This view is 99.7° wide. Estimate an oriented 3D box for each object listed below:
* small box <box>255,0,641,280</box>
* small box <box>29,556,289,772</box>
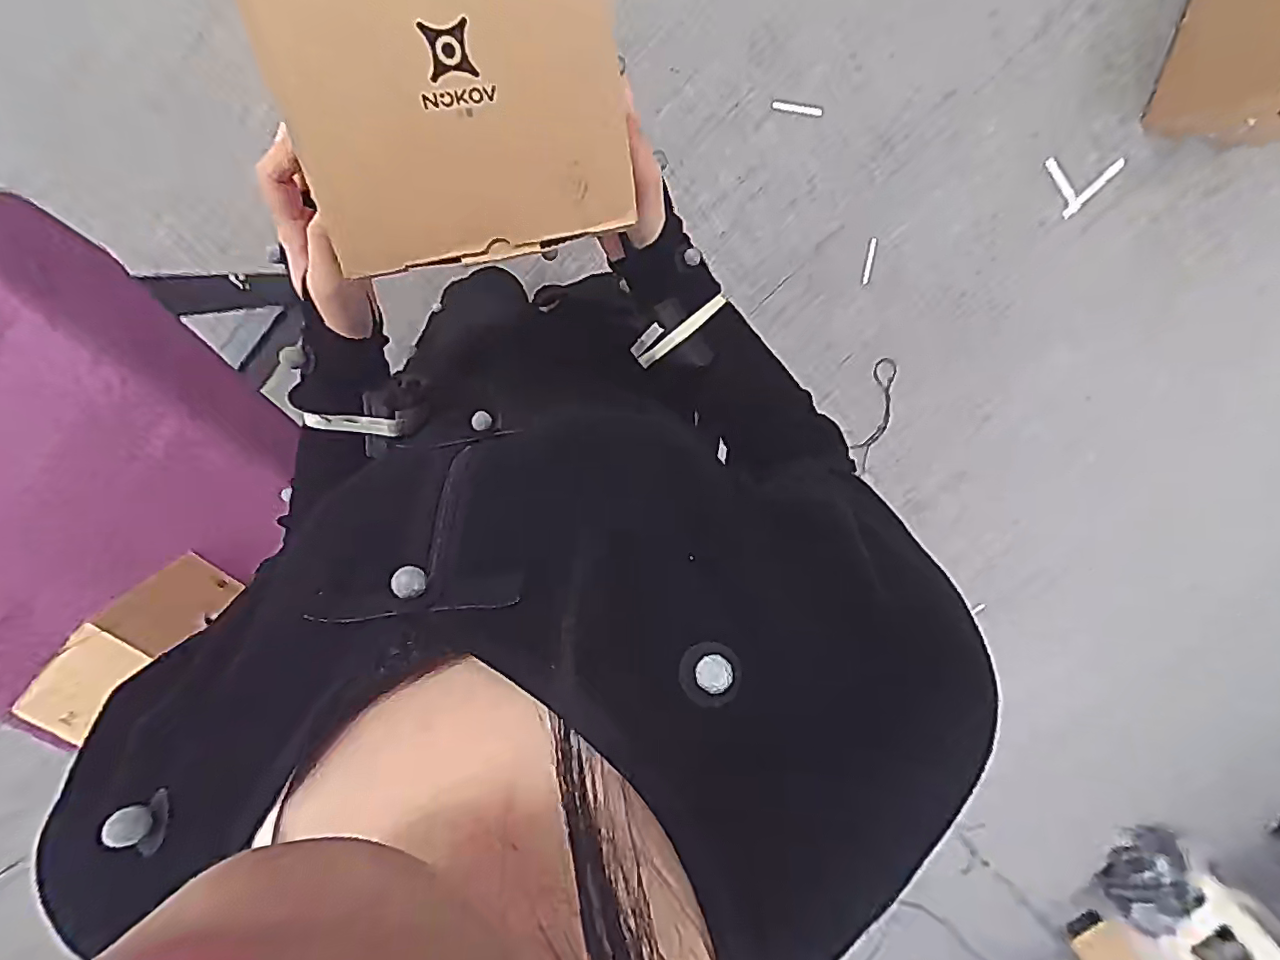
[{"bbox_3d":[-0.109,-0.237,0.331,0.168,0.176,0.179,-16,120,-11],"label":"small box"},{"bbox_3d":[-0.615,0.235,0.723,0.179,0.176,0.168,-43,108,12],"label":"small box"}]
